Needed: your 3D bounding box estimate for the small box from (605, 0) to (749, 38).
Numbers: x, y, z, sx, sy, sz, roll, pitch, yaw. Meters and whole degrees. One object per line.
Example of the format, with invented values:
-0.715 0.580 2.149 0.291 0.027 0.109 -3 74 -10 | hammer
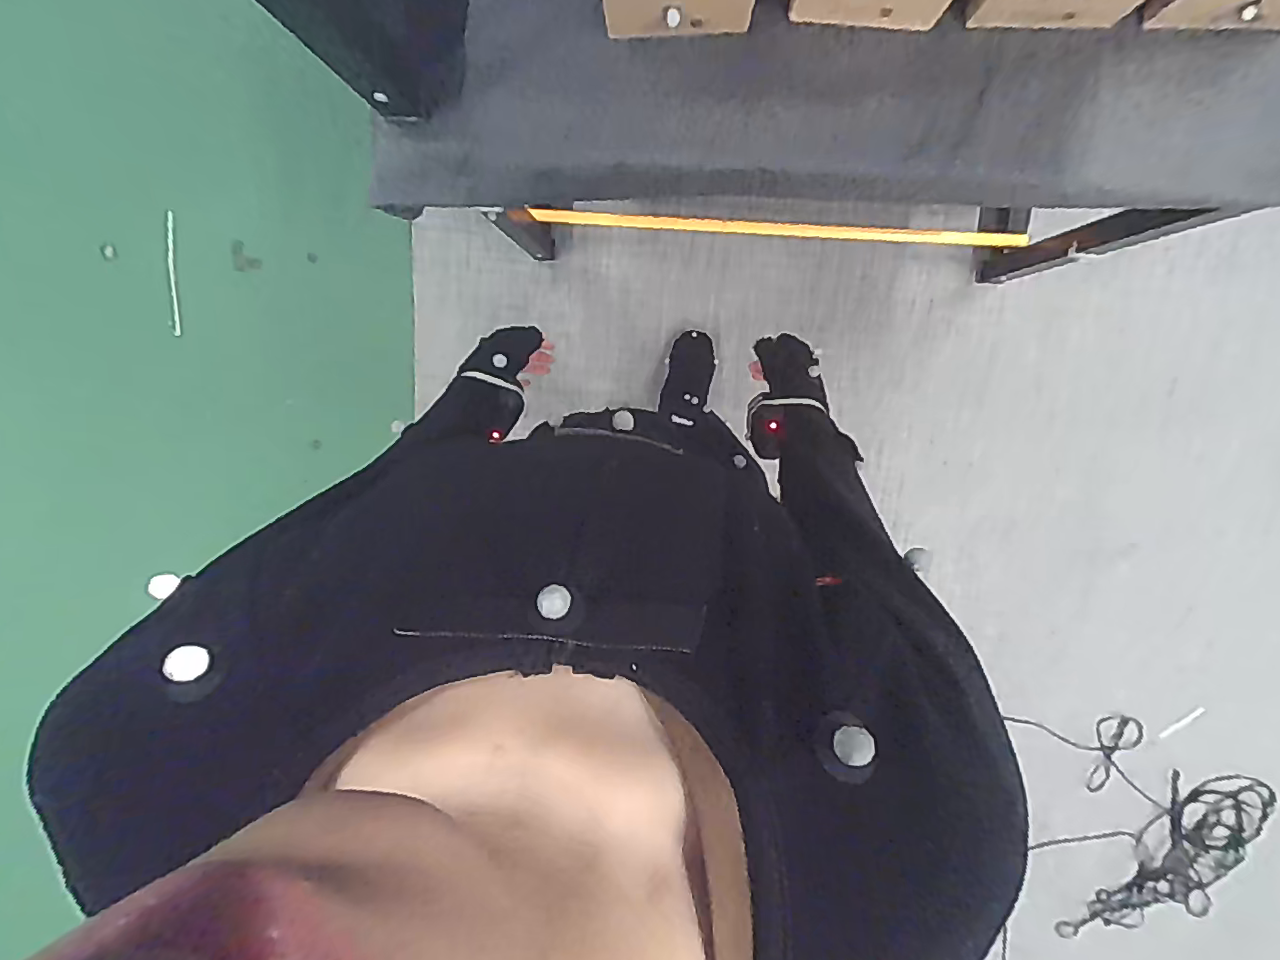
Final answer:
0.037 -0.601 0.551 0.168 0.176 0.179 -1 101 3 | small box
